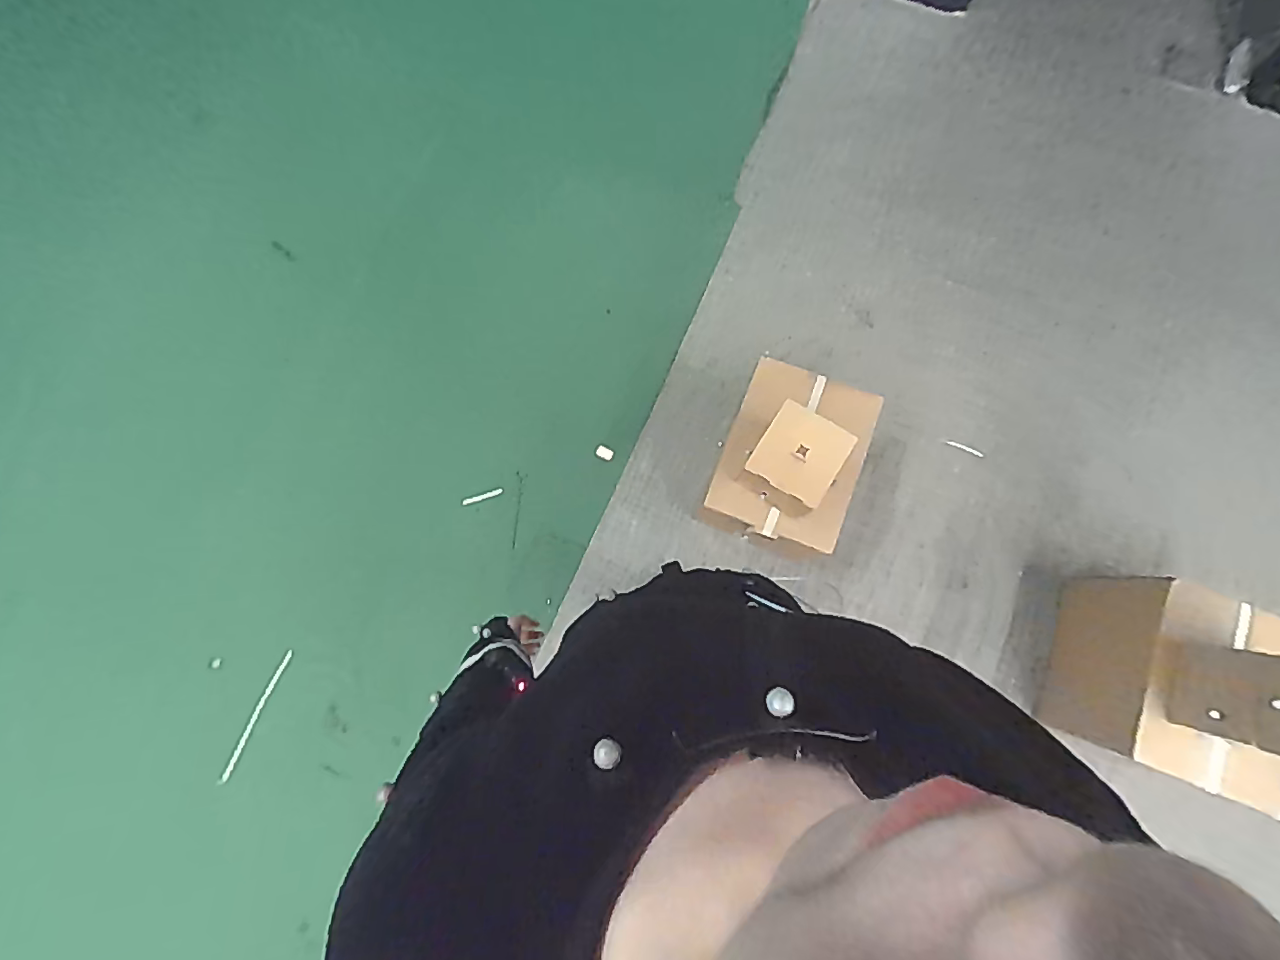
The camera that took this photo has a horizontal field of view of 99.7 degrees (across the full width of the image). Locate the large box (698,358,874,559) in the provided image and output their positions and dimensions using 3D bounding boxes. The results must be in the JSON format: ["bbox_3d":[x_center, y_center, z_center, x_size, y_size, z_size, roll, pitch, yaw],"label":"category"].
[{"bbox_3d":[0.359,-0.038,1.412,0.320,0.320,0.408,19,80,6],"label":"large box"}]

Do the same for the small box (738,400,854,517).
[{"bbox_3d":[0.324,-0.038,1.164,0.168,0.176,0.179,30,82,9],"label":"small box"}]
